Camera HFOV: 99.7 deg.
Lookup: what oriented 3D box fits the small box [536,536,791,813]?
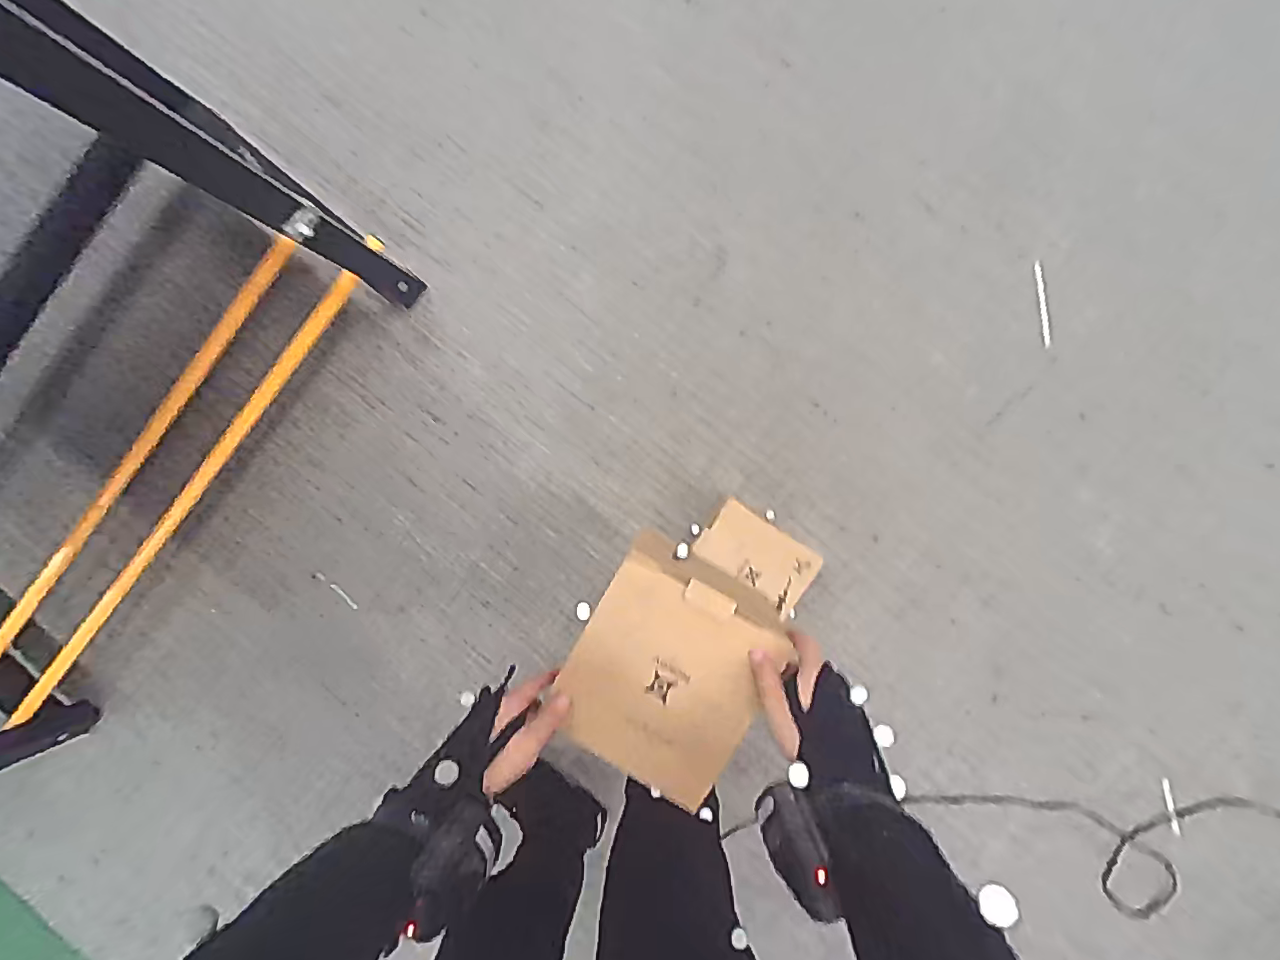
[{"bbox_3d":[0.024,0.174,0.548,0.168,0.176,0.179,30,95,4],"label":"small box"}]

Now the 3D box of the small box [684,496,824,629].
[{"bbox_3d":[0.175,0.141,0.915,0.179,0.176,0.168,34,94,5],"label":"small box"}]
